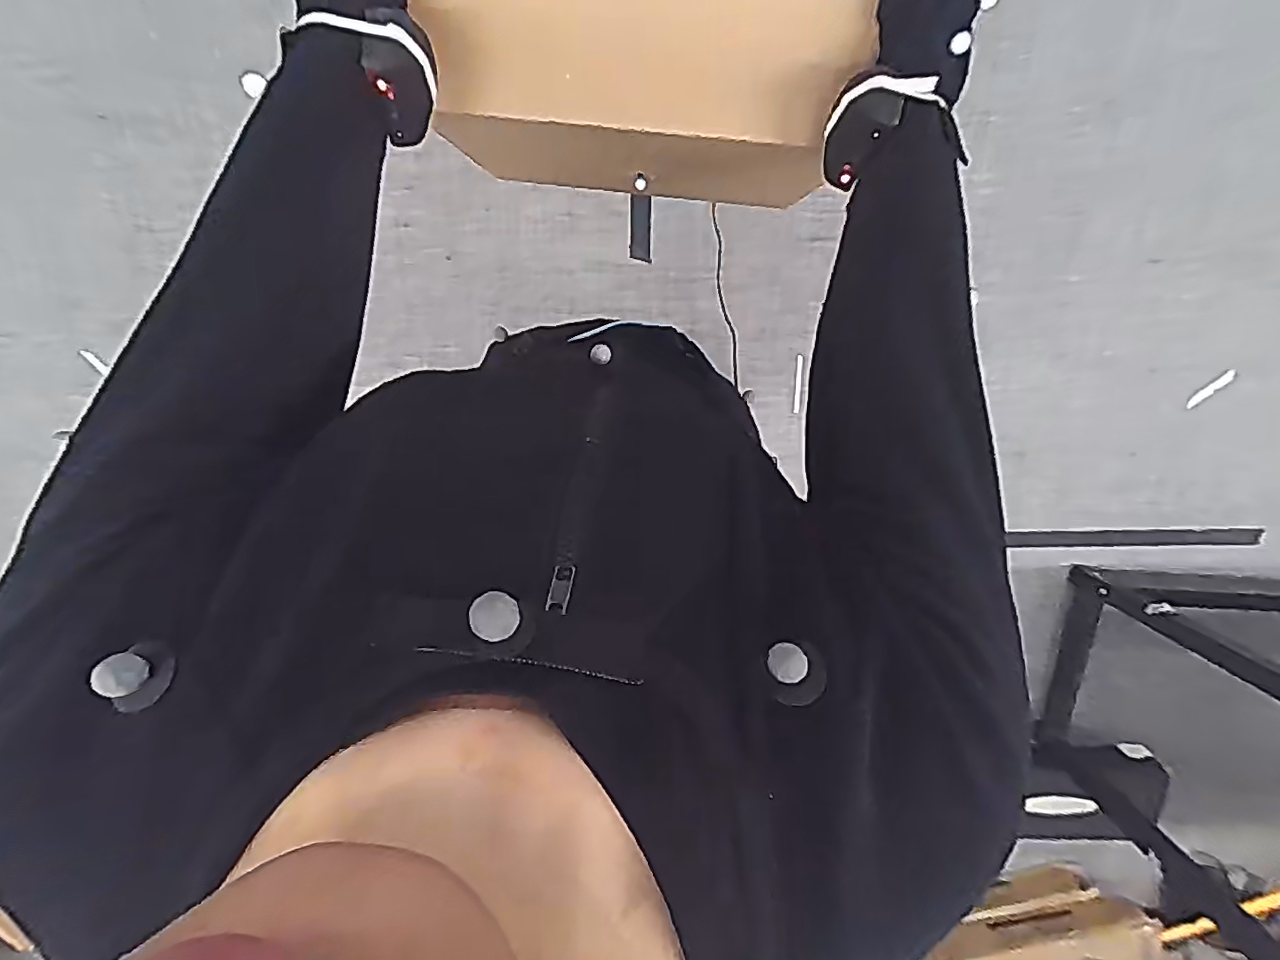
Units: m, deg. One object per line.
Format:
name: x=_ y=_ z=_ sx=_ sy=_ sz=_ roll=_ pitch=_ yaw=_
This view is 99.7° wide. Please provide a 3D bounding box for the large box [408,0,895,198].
large box: x=0.018 y=-0.496 z=0.559 sx=0.408 sy=0.320 sz=0.320 roll=5 pitch=108 yaw=0
